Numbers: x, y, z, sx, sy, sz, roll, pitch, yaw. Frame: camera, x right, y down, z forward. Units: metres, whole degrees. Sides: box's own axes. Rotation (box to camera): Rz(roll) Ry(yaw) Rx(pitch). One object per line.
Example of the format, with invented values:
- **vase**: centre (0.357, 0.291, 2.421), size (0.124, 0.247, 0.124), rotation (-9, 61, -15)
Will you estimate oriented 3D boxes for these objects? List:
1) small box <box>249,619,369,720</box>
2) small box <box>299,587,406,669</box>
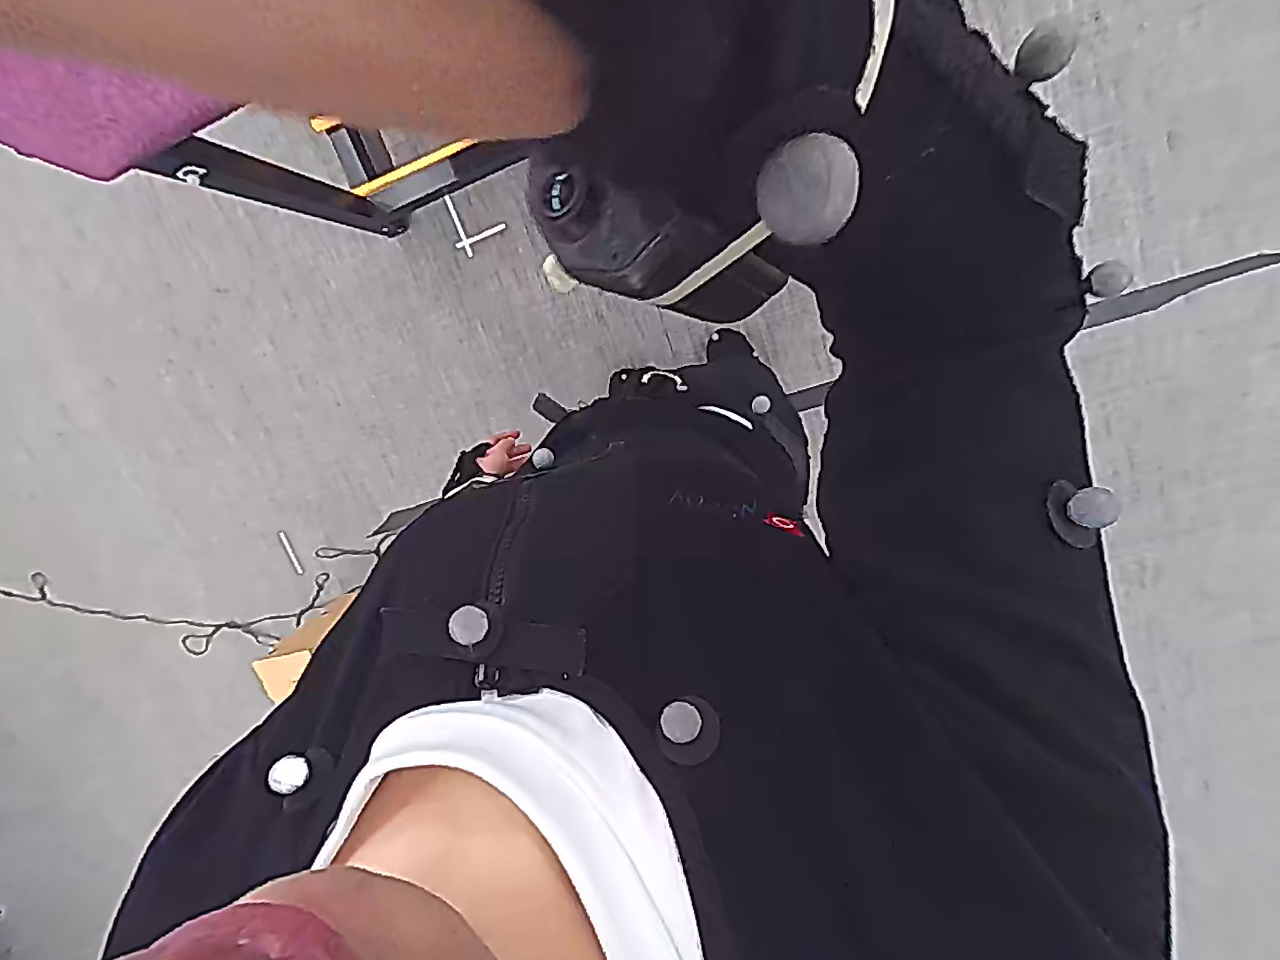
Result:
- **small box**: centre (-0.826, 0.475, 1.378), size (0.179, 0.176, 0.168), rotation (-15, 104, 13)
- **small box**: centre (-0.805, 0.426, 1.531), size (0.179, 0.176, 0.168), rotation (-15, 105, 12)
